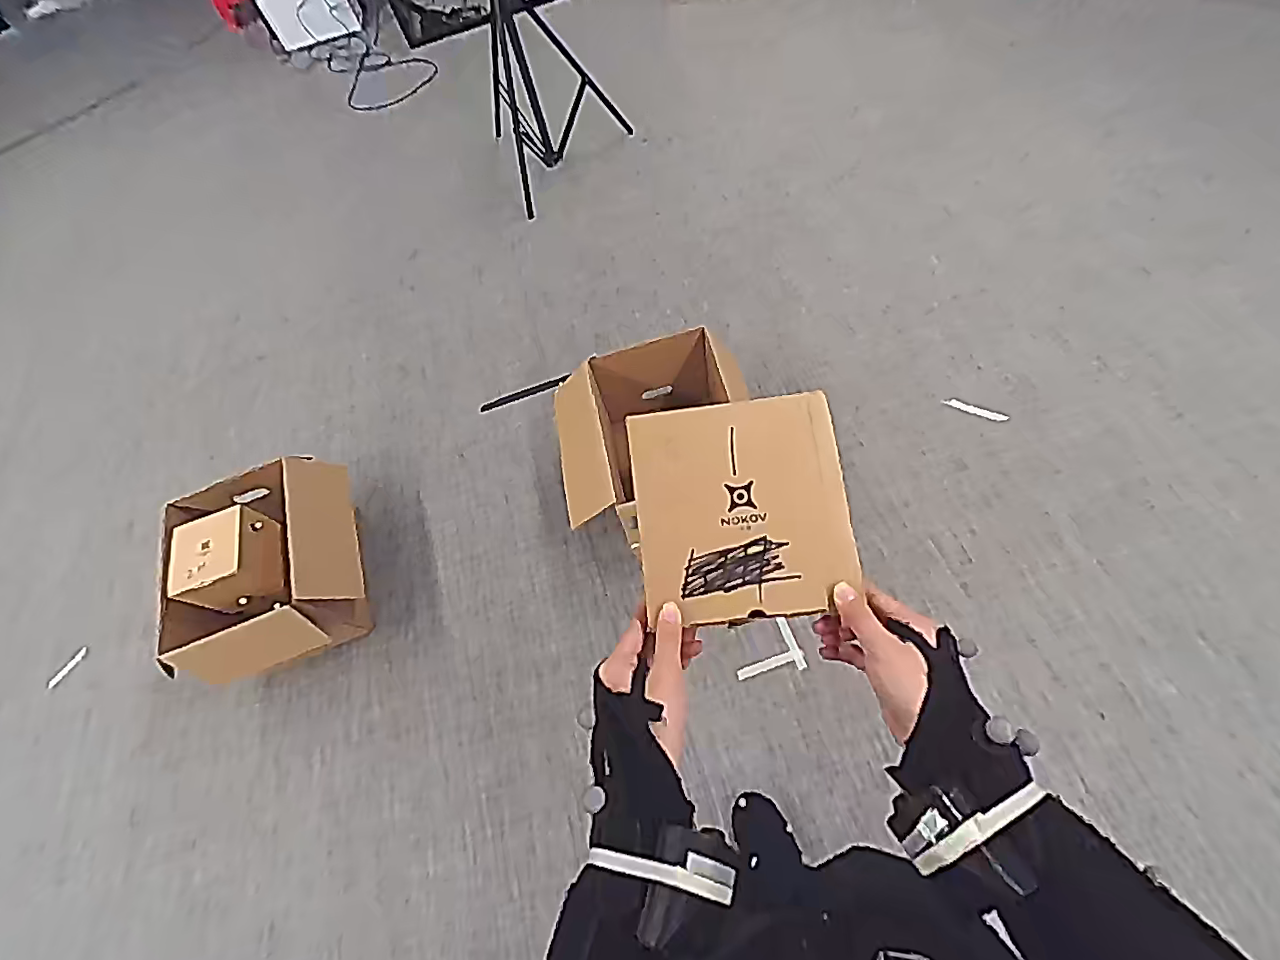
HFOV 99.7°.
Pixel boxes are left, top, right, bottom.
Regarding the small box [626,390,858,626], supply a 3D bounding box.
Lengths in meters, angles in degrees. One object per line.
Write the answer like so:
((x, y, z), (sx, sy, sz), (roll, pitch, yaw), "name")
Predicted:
((0.083, 0.036, 0.505), (0.168, 0.176, 0.179), (-7, 76, 3), "small box")

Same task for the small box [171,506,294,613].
((-0.957, 0.193, 1.286), (0.168, 0.176, 0.179), (-20, 63, 0), "small box")
